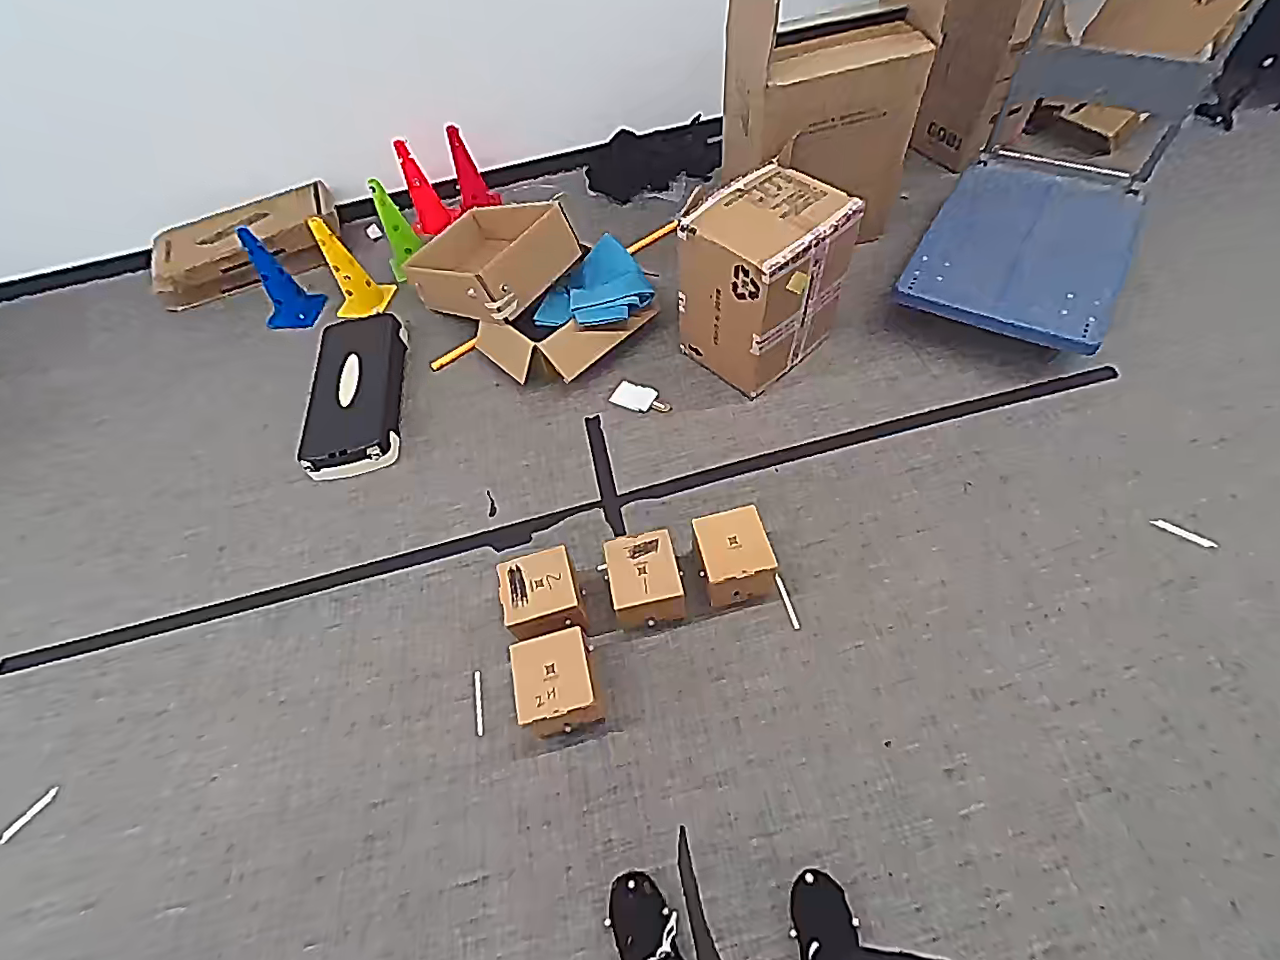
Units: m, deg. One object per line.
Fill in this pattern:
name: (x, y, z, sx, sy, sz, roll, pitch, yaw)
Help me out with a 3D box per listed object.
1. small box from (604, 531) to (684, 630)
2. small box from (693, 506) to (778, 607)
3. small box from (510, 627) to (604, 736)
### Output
small box: (0.011, 0.252, 1.345, 0.168, 0.176, 0.179, -12, 57, -1)
small box: (0.230, 0.195, 1.361, 0.168, 0.176, 0.179, -13, 57, -3)
small box: (-0.186, 0.461, 1.230, 0.168, 0.176, 0.179, -15, 57, -3)
